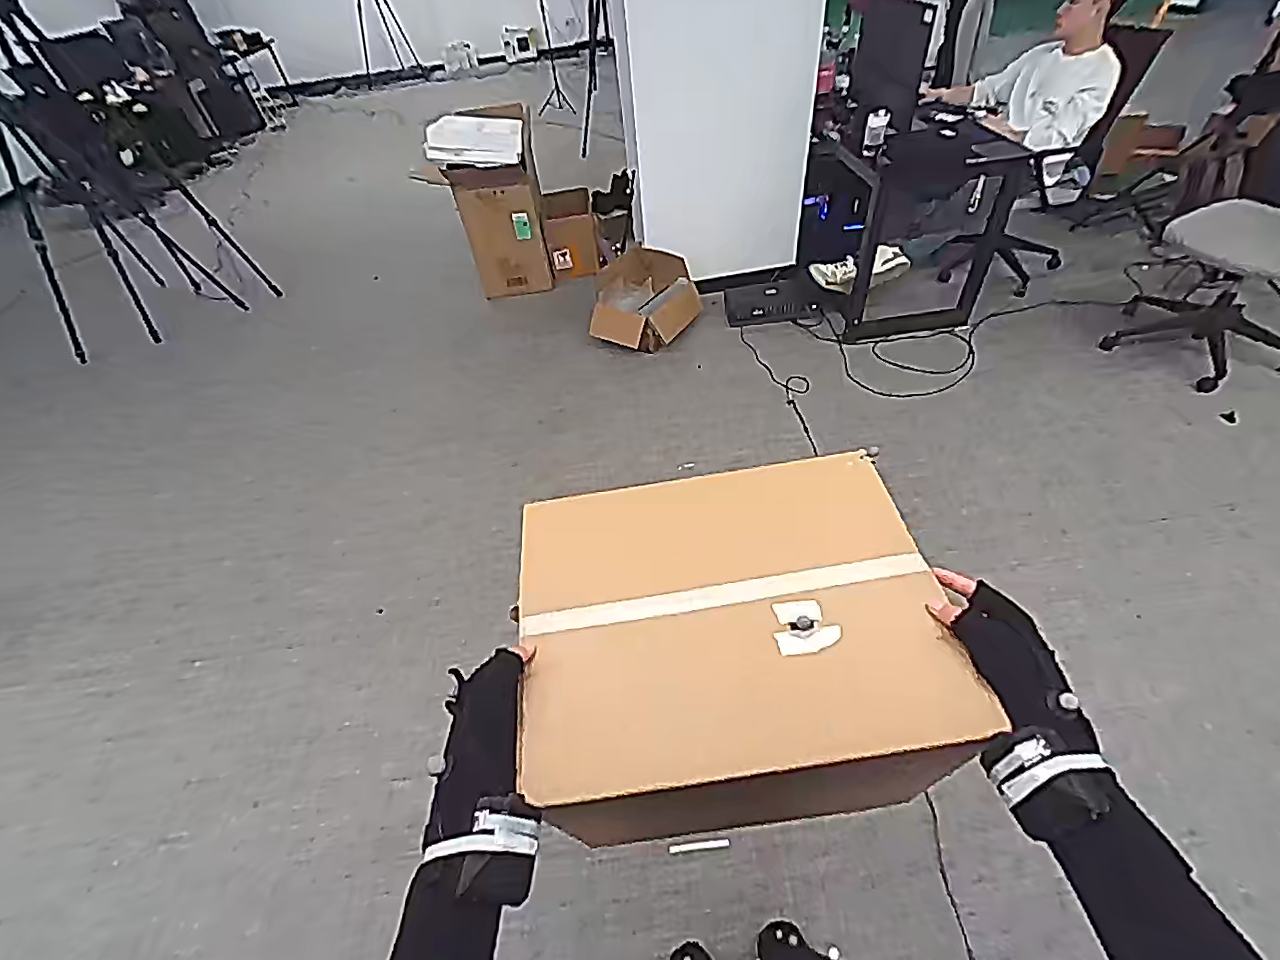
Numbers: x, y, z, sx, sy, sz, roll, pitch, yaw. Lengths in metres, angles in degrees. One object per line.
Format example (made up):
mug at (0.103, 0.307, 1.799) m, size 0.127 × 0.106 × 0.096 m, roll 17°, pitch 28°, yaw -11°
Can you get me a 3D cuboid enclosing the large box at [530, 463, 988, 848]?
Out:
large box at (0.098, 0.222, 0.664) m, size 0.408 × 0.320 × 0.320 m, roll -9°, pitch 51°, yaw 0°
